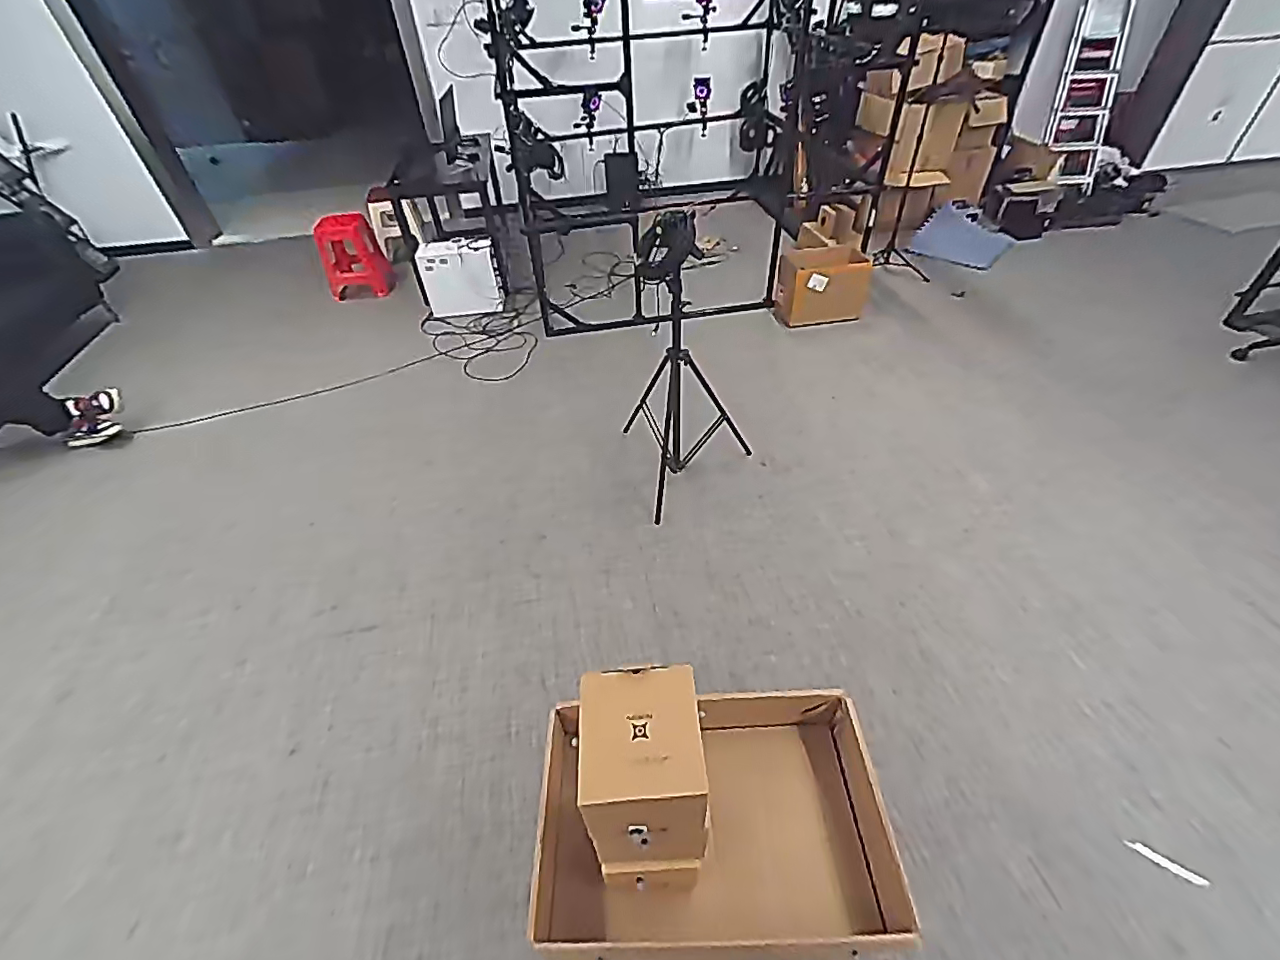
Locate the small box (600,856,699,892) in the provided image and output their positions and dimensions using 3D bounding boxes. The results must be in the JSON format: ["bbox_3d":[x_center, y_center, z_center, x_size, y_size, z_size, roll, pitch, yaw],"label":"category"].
[{"bbox_3d":[0.017,0.635,0.991,0.168,0.176,0.179,-3,43,-1],"label":"small box"}]

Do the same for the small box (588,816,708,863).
[{"bbox_3d":[0.014,0.510,0.885,0.179,0.176,0.168,-2,43,0],"label":"small box"}]

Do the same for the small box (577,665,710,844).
[{"bbox_3d":[0.004,0.391,0.772,0.168,0.176,0.179,-5,42,0],"label":"small box"}]
